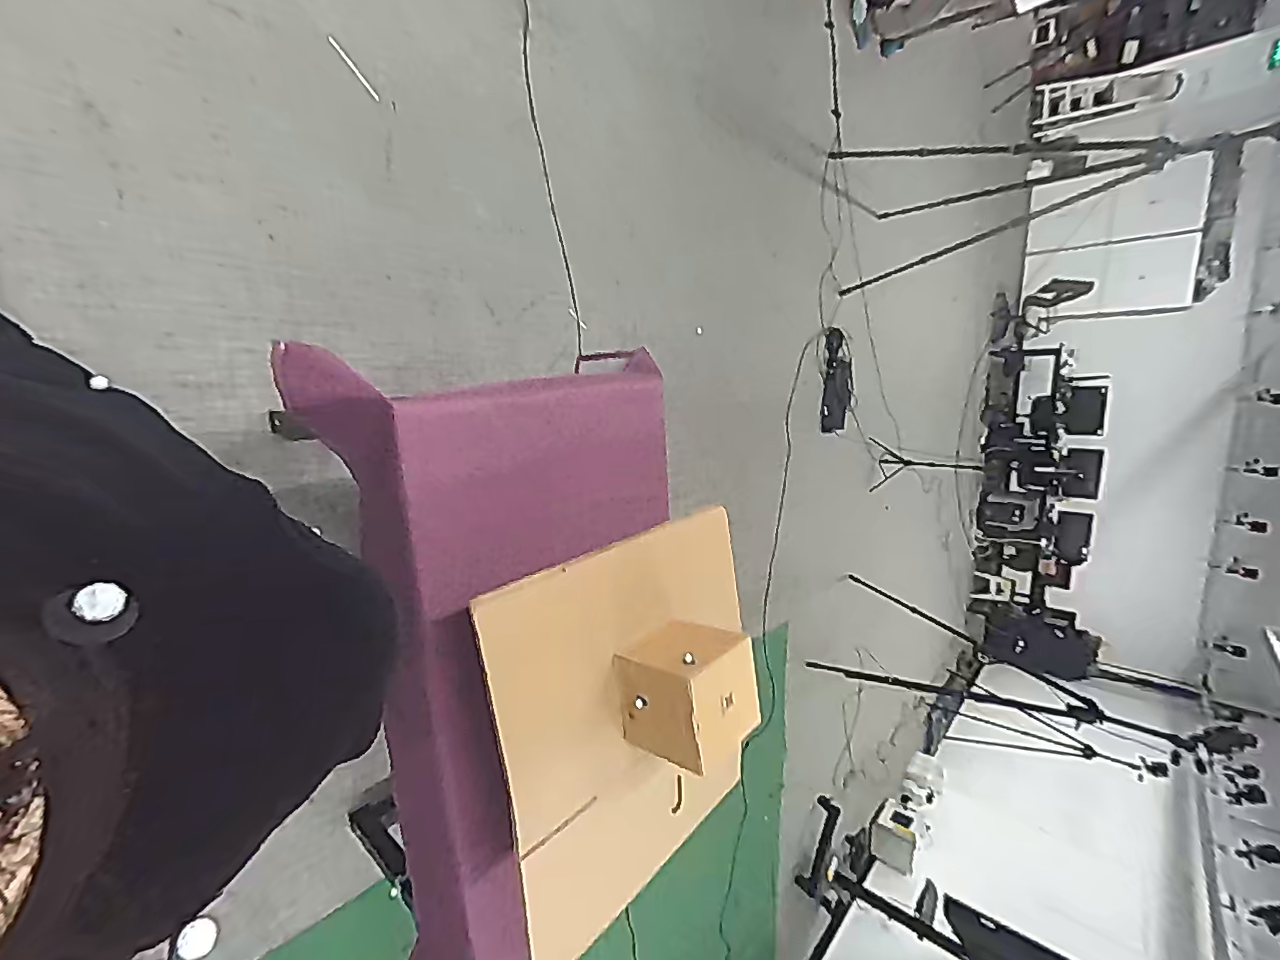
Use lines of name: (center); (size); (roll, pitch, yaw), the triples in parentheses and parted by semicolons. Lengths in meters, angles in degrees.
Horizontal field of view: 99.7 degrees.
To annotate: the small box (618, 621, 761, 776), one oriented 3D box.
small box: (0.086, 0.362, 0.938); (0.179, 0.176, 0.168); (-16, 101, -43)
